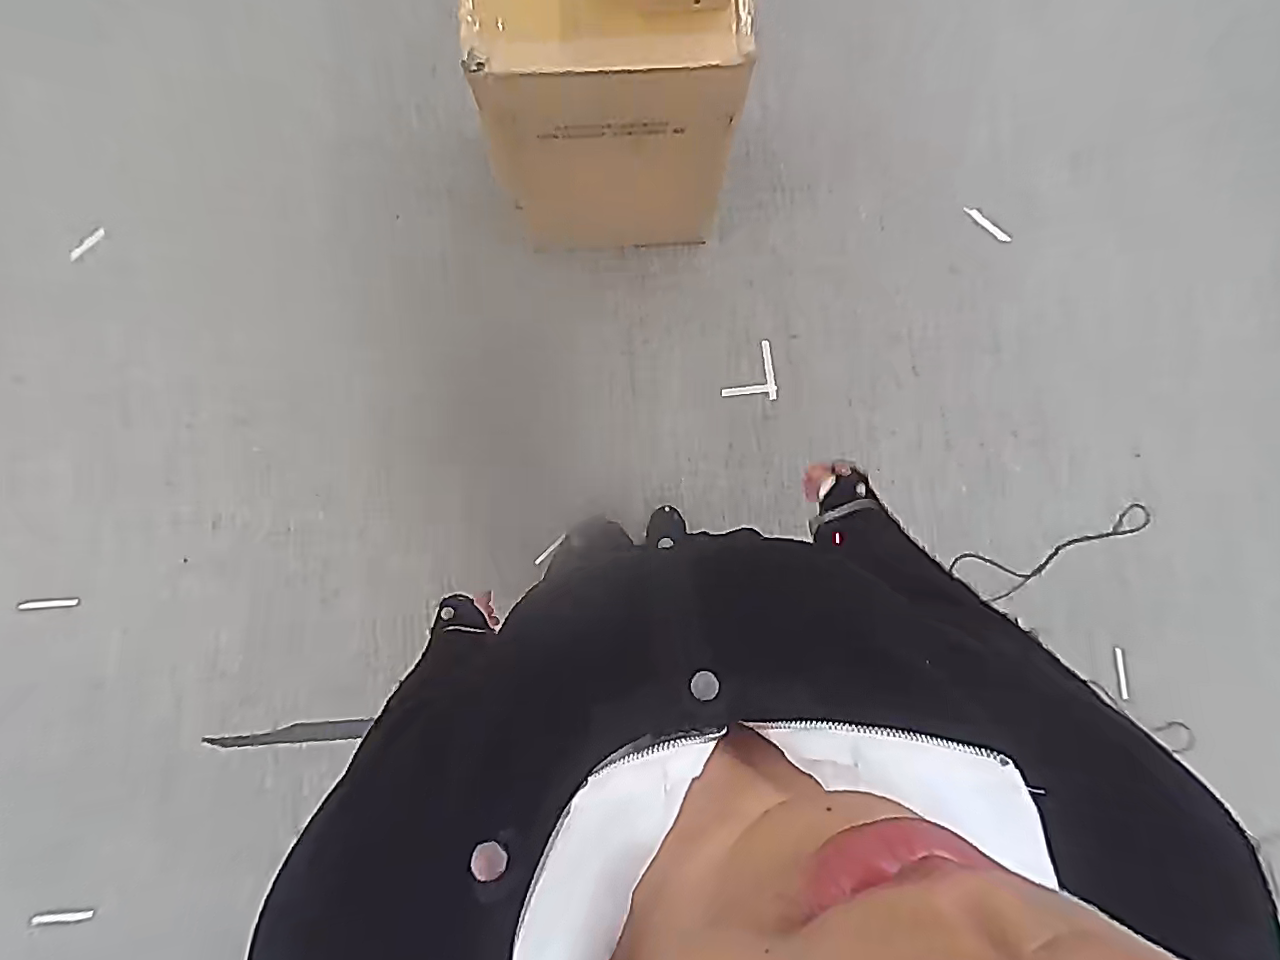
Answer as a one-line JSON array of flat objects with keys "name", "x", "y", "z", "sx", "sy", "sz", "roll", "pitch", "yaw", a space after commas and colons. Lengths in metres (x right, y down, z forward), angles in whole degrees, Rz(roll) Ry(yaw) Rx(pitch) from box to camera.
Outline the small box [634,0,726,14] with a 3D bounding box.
[{"name": "small box", "x": 0.067, "y": -0.924, "z": 0.888, "sx": 0.168, "sy": 0.176, "sz": 0.179, "roll": -4, "pitch": 87, "yaw": 0}]
